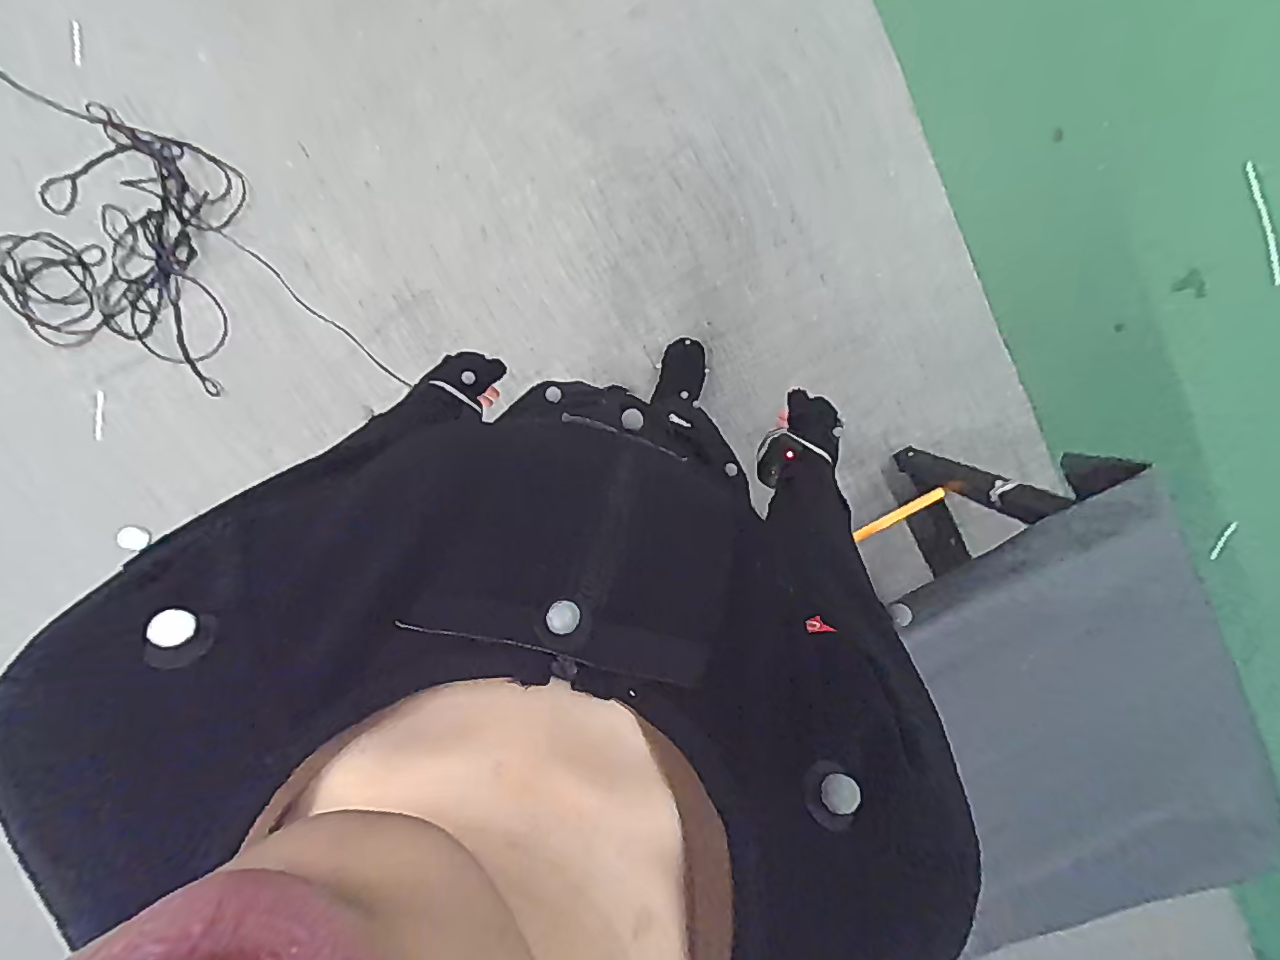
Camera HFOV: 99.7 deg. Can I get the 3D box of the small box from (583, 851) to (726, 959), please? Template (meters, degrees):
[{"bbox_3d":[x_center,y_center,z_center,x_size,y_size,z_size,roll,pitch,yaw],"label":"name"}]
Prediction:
[{"bbox_3d":[0.029,0.723,0.825,0.168,0.176,0.179,-28,101,6],"label":"small box"}]
